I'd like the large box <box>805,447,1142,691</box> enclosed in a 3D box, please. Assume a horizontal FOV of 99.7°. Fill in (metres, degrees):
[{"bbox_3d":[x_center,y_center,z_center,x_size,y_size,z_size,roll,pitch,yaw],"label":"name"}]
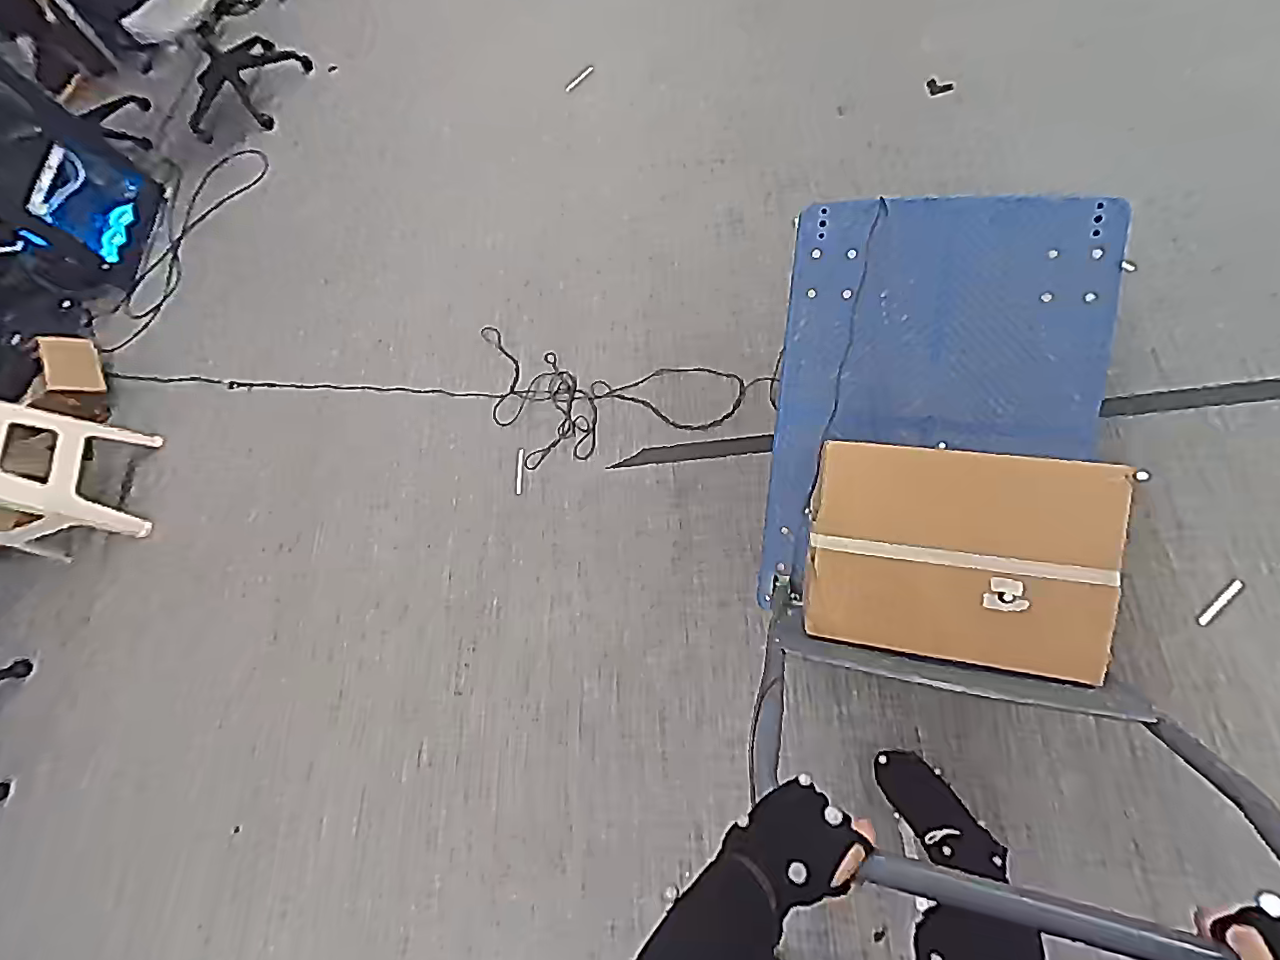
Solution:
[{"bbox_3d":[0.506,0.116,0.925,0.408,0.320,0.320,7,95,15],"label":"large box"}]
